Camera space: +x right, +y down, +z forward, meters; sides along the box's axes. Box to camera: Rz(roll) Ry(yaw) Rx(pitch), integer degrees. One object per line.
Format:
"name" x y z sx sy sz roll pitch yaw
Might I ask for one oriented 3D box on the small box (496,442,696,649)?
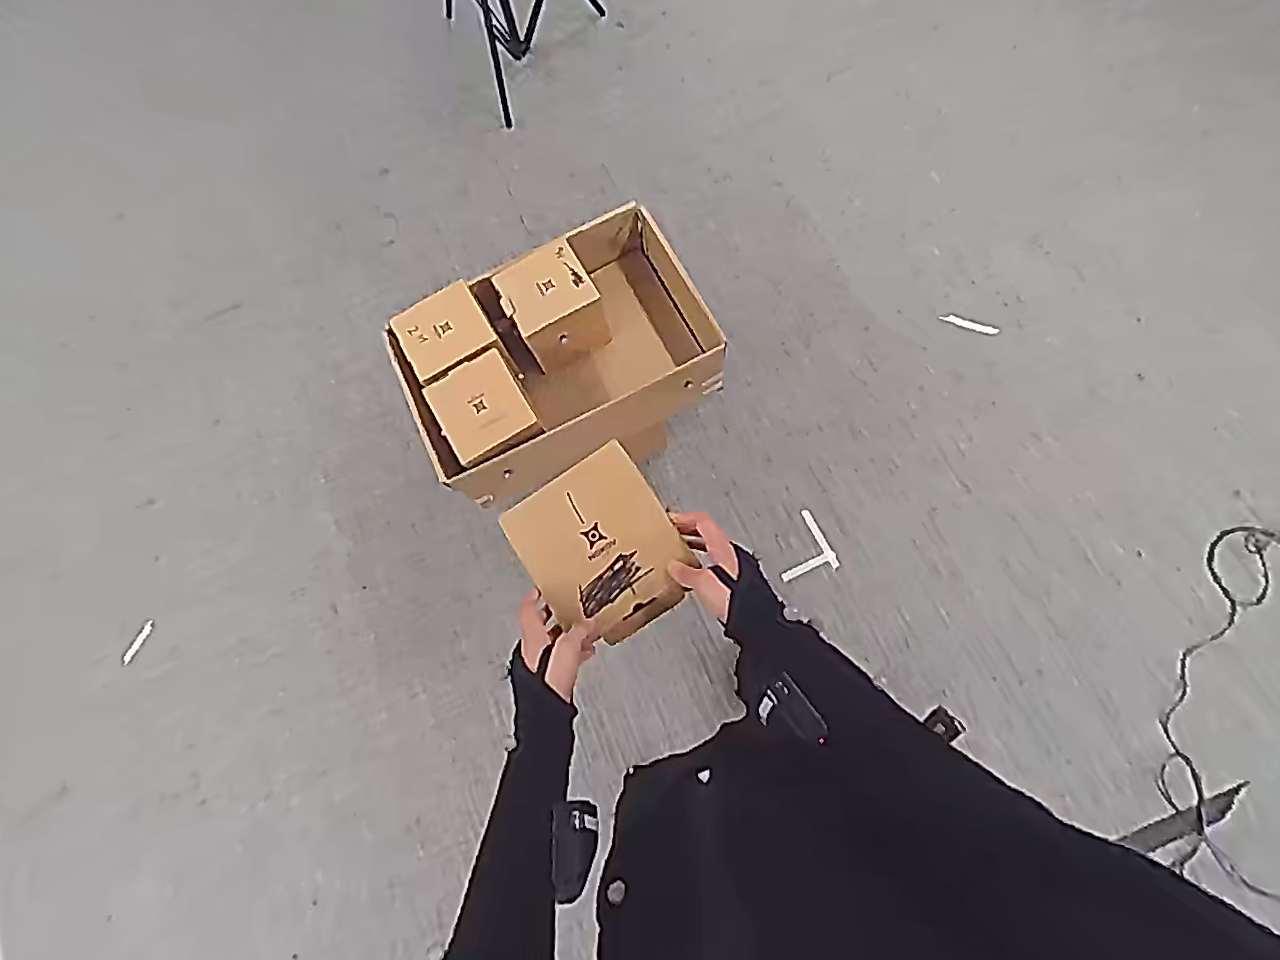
"small box" -0.042 0.079 0.673 0.168 0.176 0.179 -34 80 1
